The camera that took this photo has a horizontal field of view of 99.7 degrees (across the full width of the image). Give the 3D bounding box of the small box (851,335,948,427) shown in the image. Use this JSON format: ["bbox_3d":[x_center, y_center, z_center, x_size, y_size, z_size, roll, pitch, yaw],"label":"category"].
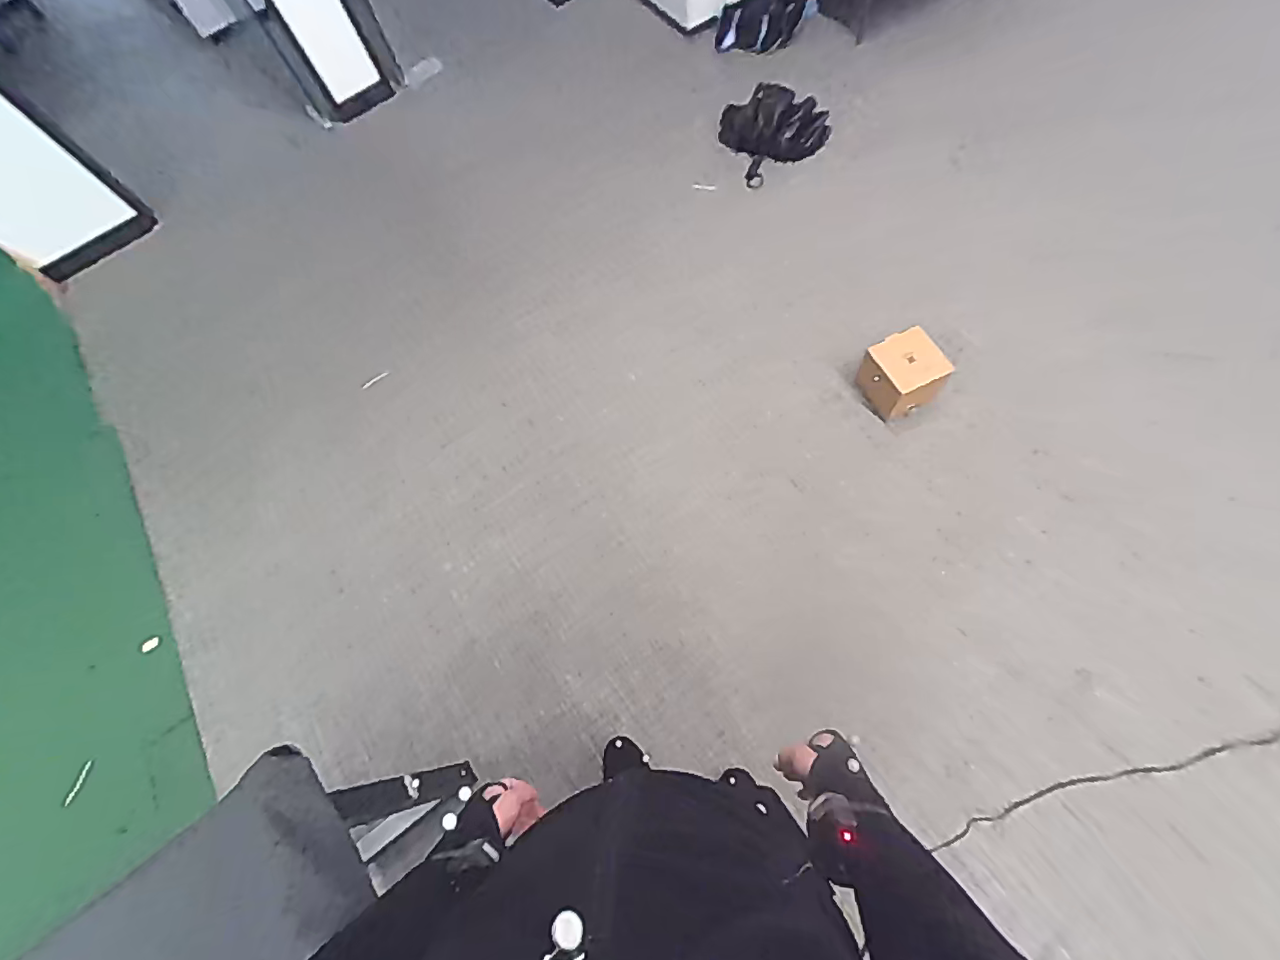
[{"bbox_3d":[0.751,-0.286,1.590,0.168,0.176,0.179,-25,68,-2],"label":"small box"}]
